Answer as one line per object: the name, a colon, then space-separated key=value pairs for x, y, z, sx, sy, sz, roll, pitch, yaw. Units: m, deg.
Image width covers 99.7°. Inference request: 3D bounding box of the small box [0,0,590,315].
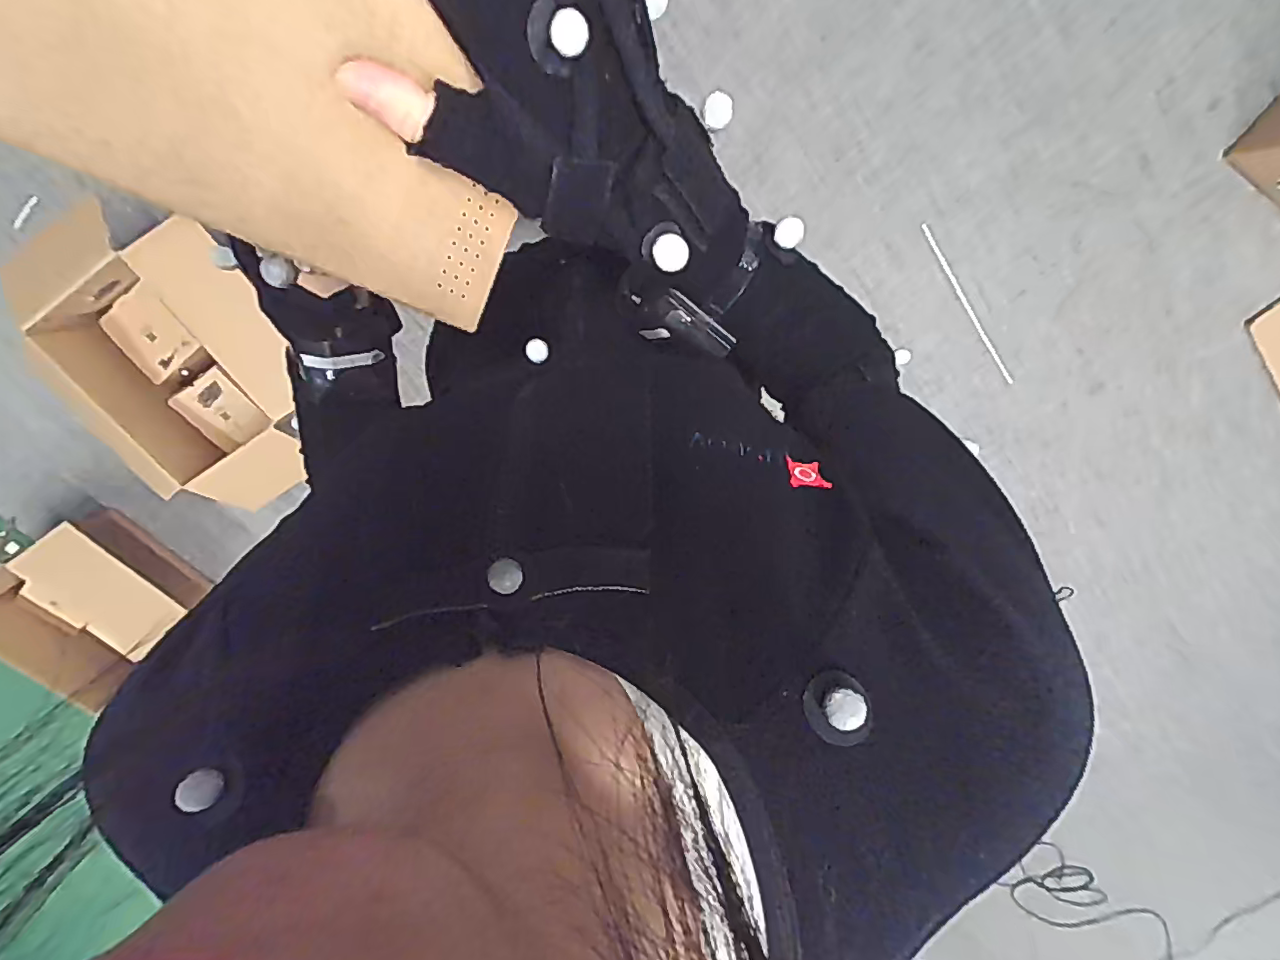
small box: x=-0.145 y=-0.194 z=0.220 sx=0.168 sy=0.176 sz=0.179 roll=28 pitch=100 yaw=31
